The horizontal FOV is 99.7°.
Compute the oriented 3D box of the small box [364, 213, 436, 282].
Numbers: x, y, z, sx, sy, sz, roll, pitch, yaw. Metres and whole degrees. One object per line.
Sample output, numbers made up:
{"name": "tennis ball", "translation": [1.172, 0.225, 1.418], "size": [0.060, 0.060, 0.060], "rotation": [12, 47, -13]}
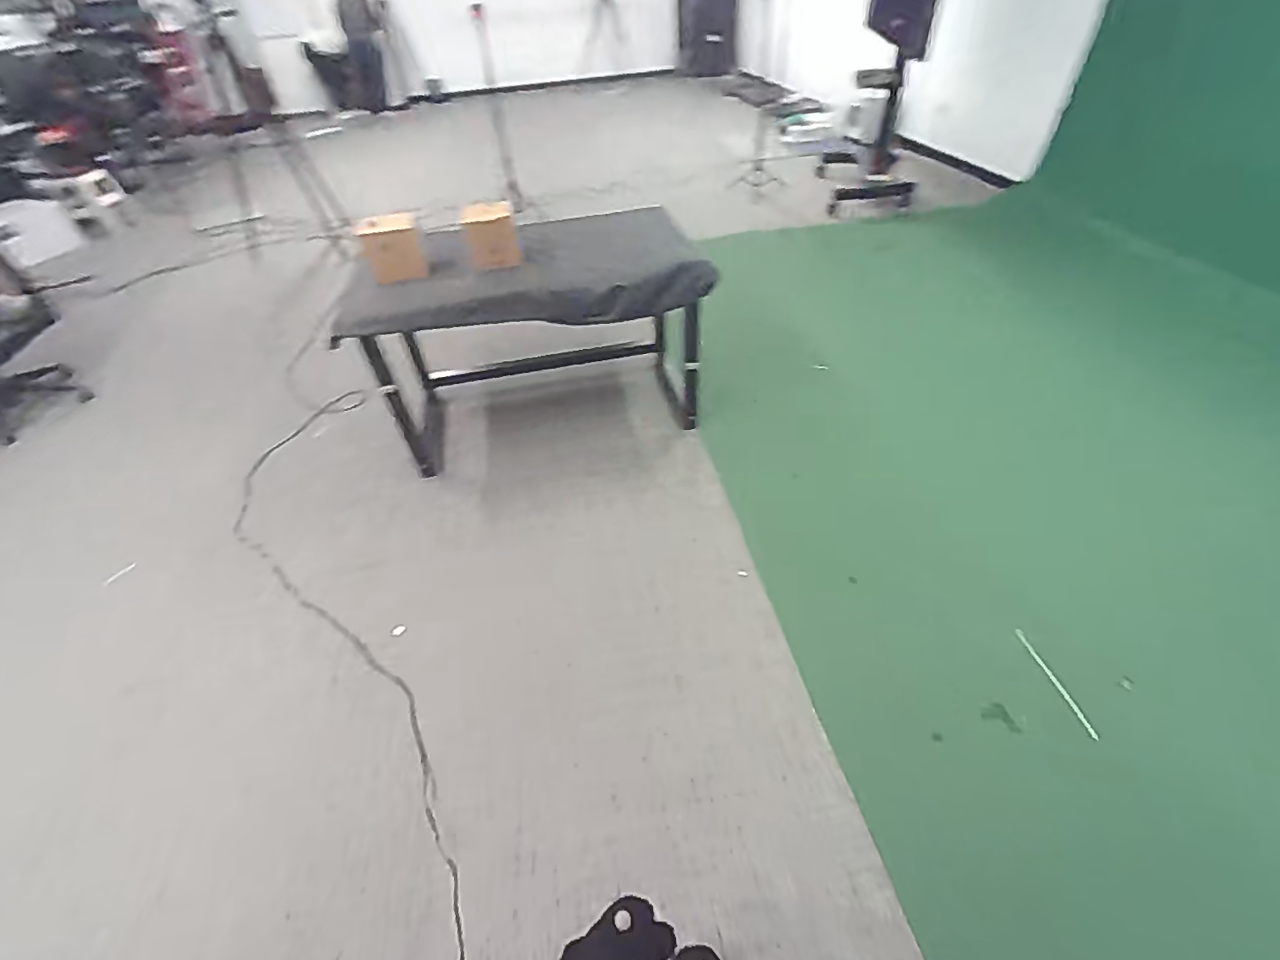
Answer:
{"name": "small box", "translation": [-0.821, -0.799, 1.863], "size": [0.179, 0.176, 0.168], "rotation": [-11, 44, -9]}

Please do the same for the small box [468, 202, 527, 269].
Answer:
{"name": "small box", "translation": [-0.495, -0.851, 1.894], "size": [0.168, 0.176, 0.179], "rotation": [-10, 45, -6]}
